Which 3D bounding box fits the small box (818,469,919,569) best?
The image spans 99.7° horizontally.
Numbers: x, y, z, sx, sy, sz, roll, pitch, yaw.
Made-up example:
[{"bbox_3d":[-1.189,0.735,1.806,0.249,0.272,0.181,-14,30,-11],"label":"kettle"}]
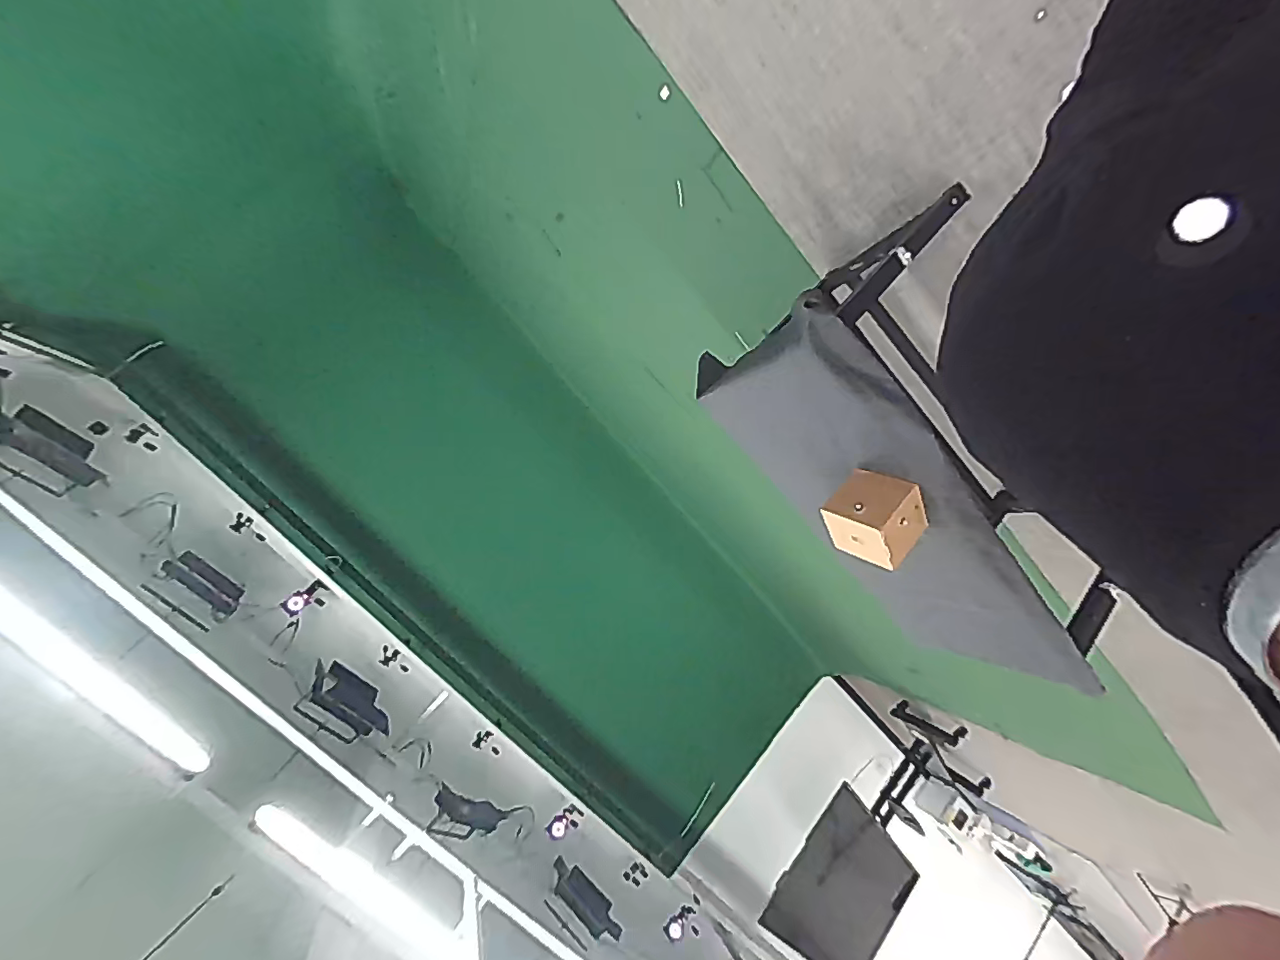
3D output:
[{"bbox_3d":[0.603,0.094,1.411,0.179,0.176,0.168,26,155,51],"label":"small box"}]
